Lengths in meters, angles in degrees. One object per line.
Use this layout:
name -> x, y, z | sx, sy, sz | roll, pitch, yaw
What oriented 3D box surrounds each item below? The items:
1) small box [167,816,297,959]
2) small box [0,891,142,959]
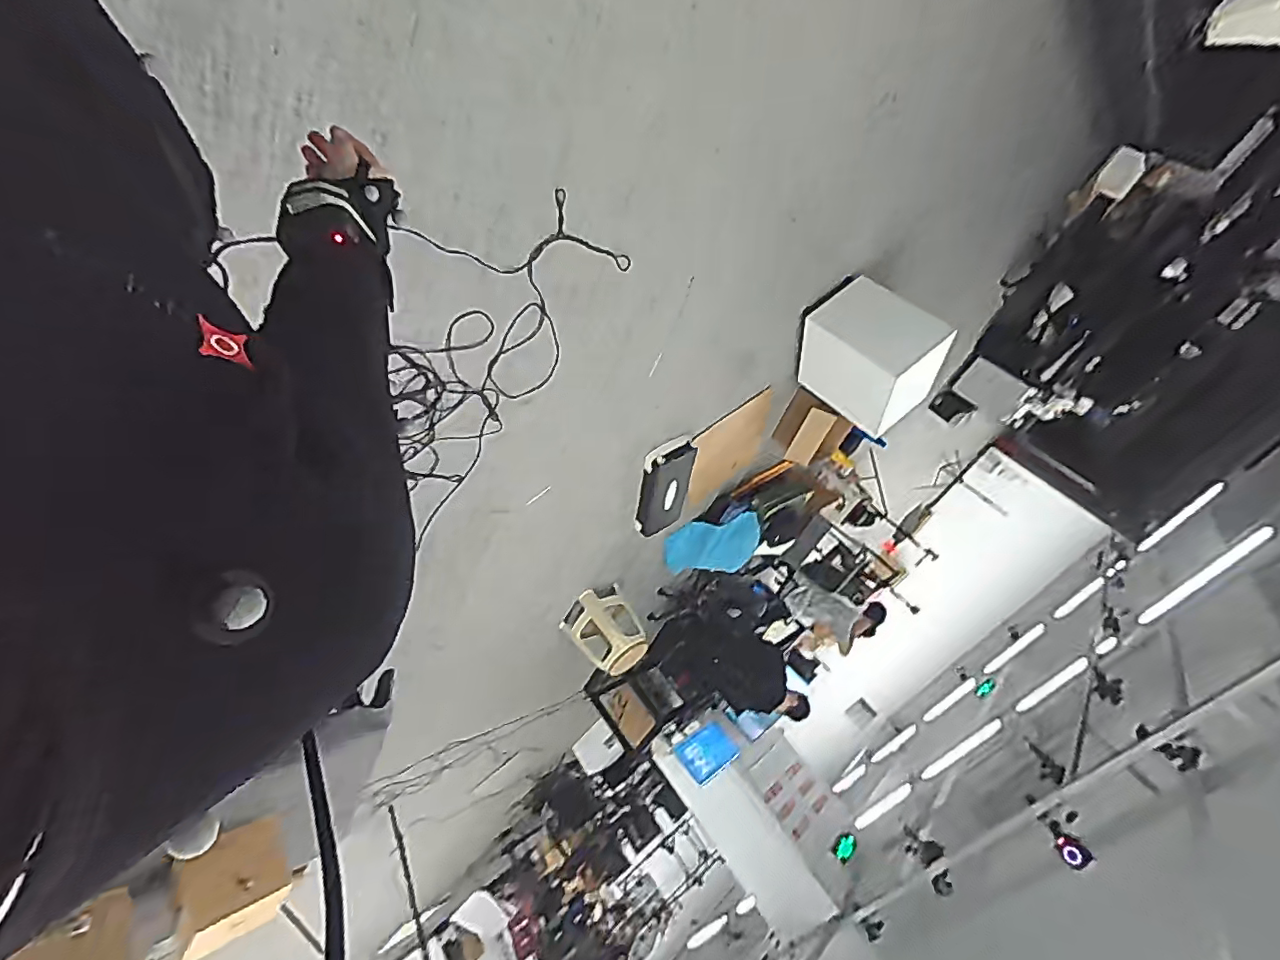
small box -> -0.885, 0.880, 1.166 | 0.179, 0.176, 0.168 | -1, 130, -54
small box -> -1.047, 0.920, 1.006 | 0.168, 0.176, 0.179 | -15, 141, -47
